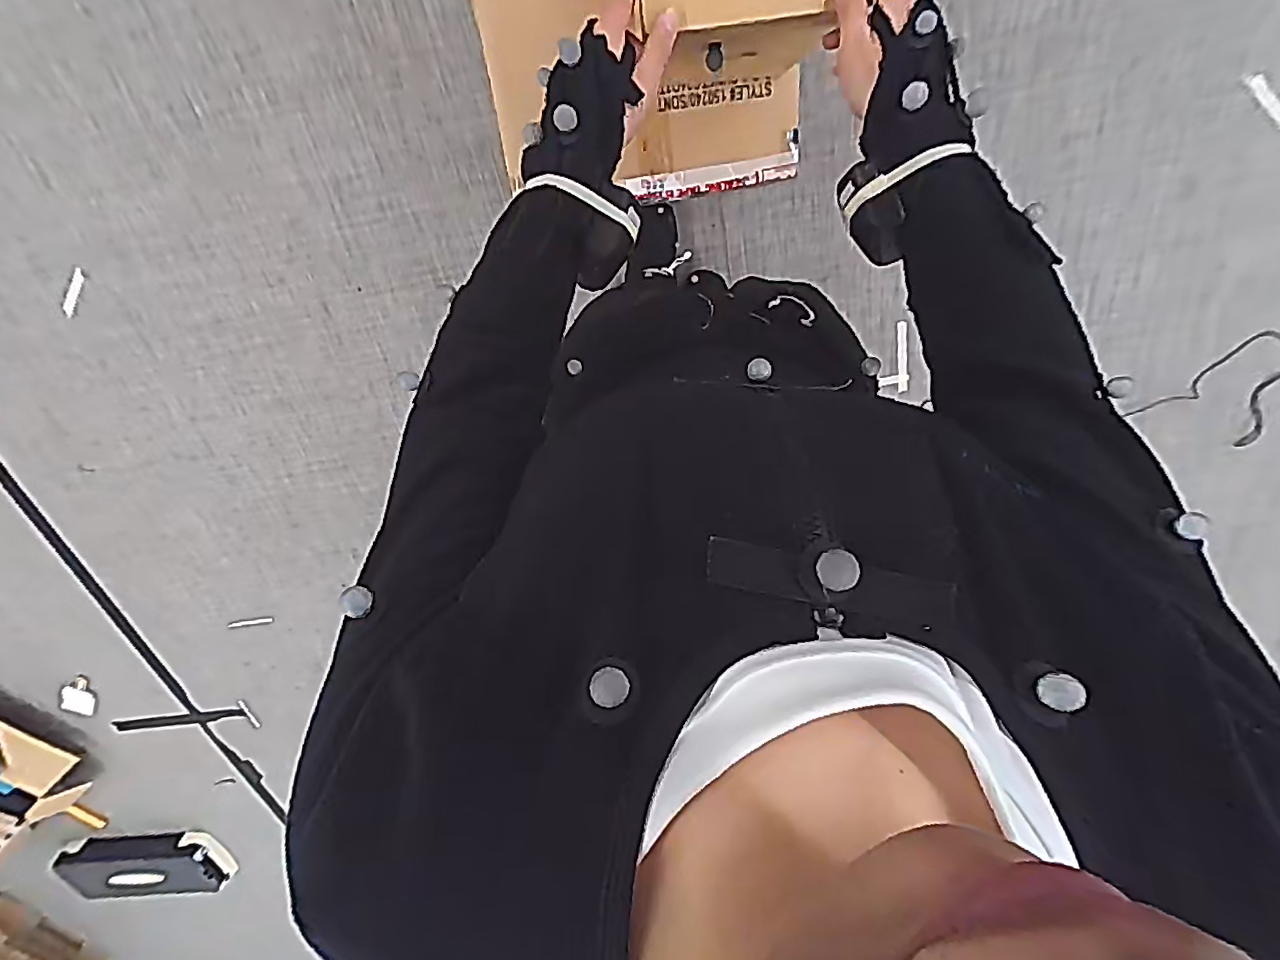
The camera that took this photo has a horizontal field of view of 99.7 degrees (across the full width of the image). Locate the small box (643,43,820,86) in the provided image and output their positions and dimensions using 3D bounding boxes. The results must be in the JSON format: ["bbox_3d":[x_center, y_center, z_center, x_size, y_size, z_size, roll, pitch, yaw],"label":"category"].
[{"bbox_3d":[0.088,-0.526,0.560,0.179,0.176,0.168,-4,119,2],"label":"small box"}]

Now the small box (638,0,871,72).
[{"bbox_3d":[0.078,-0.442,0.421,0.168,0.176,0.179,-6,118,3],"label":"small box"}]
